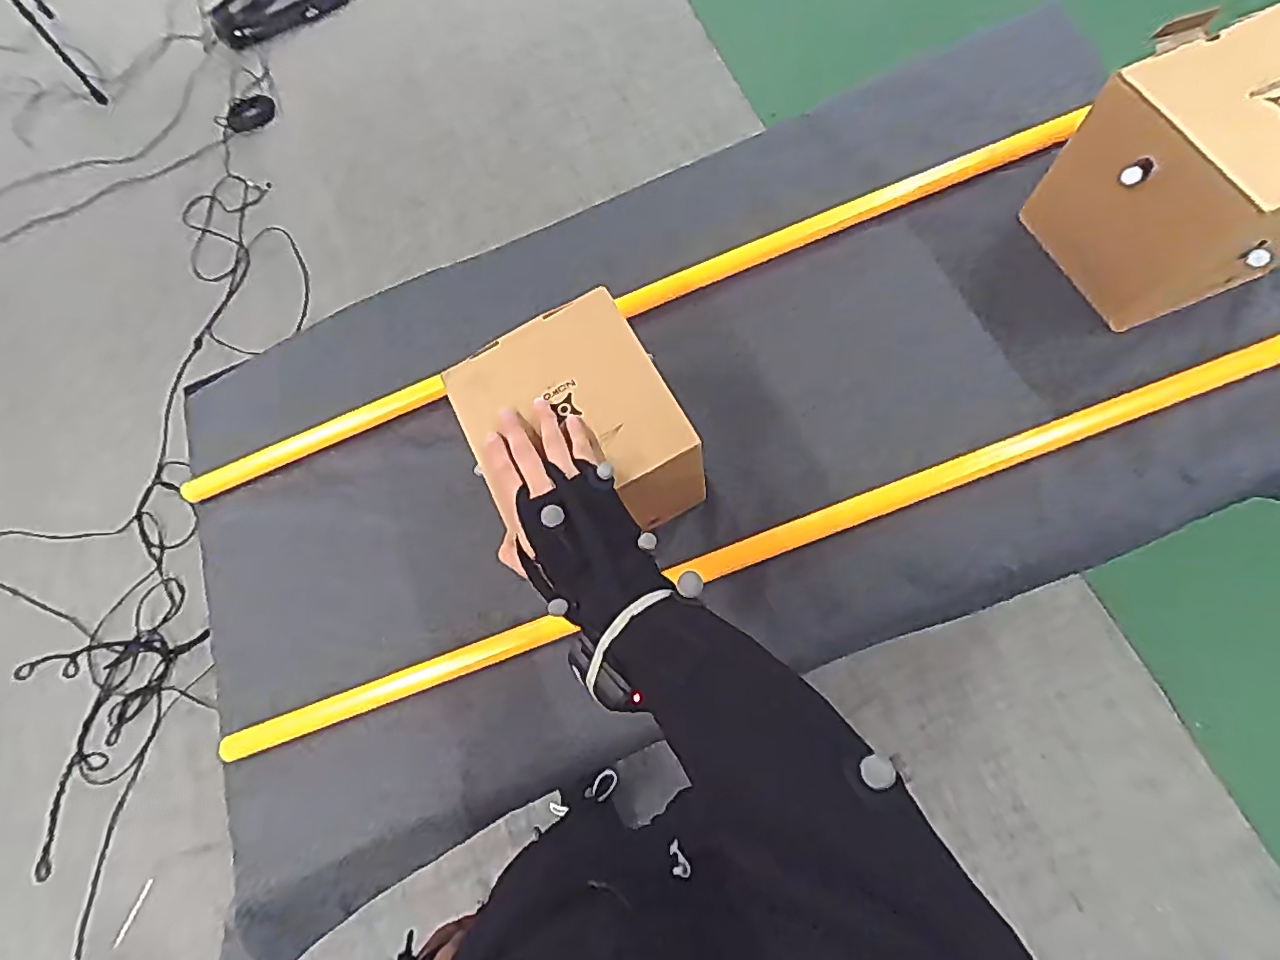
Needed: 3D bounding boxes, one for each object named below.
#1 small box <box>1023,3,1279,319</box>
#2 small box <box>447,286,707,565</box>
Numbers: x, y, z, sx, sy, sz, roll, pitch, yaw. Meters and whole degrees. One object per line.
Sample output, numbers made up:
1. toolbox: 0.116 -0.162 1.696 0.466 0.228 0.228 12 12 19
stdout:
1. small box: 0.520 -0.278 0.509 0.168 0.176 0.179 -22 69 2
2. small box: -0.049 -0.038 0.518 0.168 0.176 0.179 -29 71 -1
